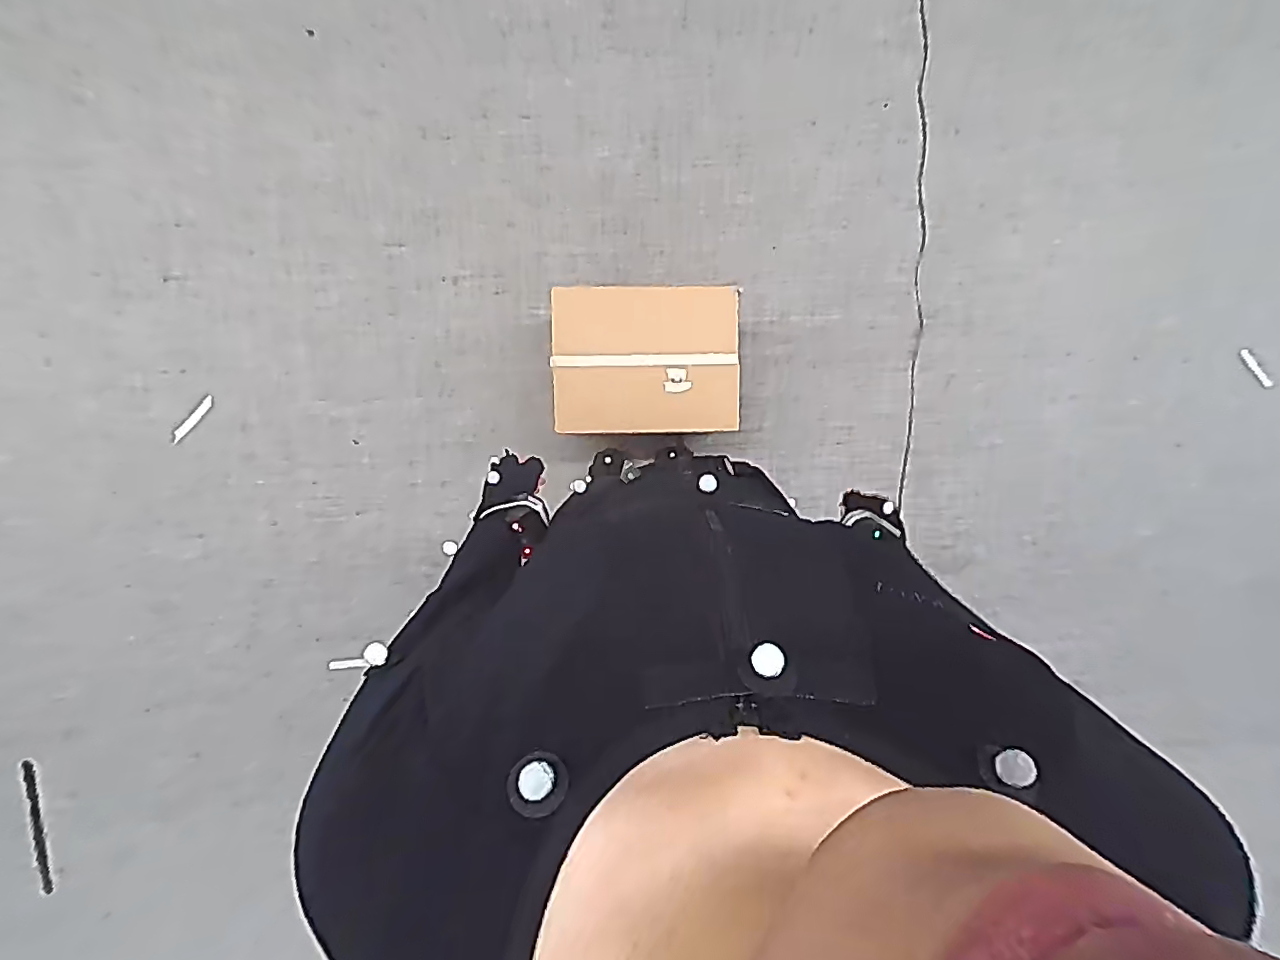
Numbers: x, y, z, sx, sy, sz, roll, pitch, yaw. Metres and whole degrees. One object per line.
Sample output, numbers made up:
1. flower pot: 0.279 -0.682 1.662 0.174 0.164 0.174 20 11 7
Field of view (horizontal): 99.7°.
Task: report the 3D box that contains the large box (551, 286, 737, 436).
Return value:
1. large box: 0.004 -0.272 1.328 0.408 0.320 0.320 -2 95 -3
